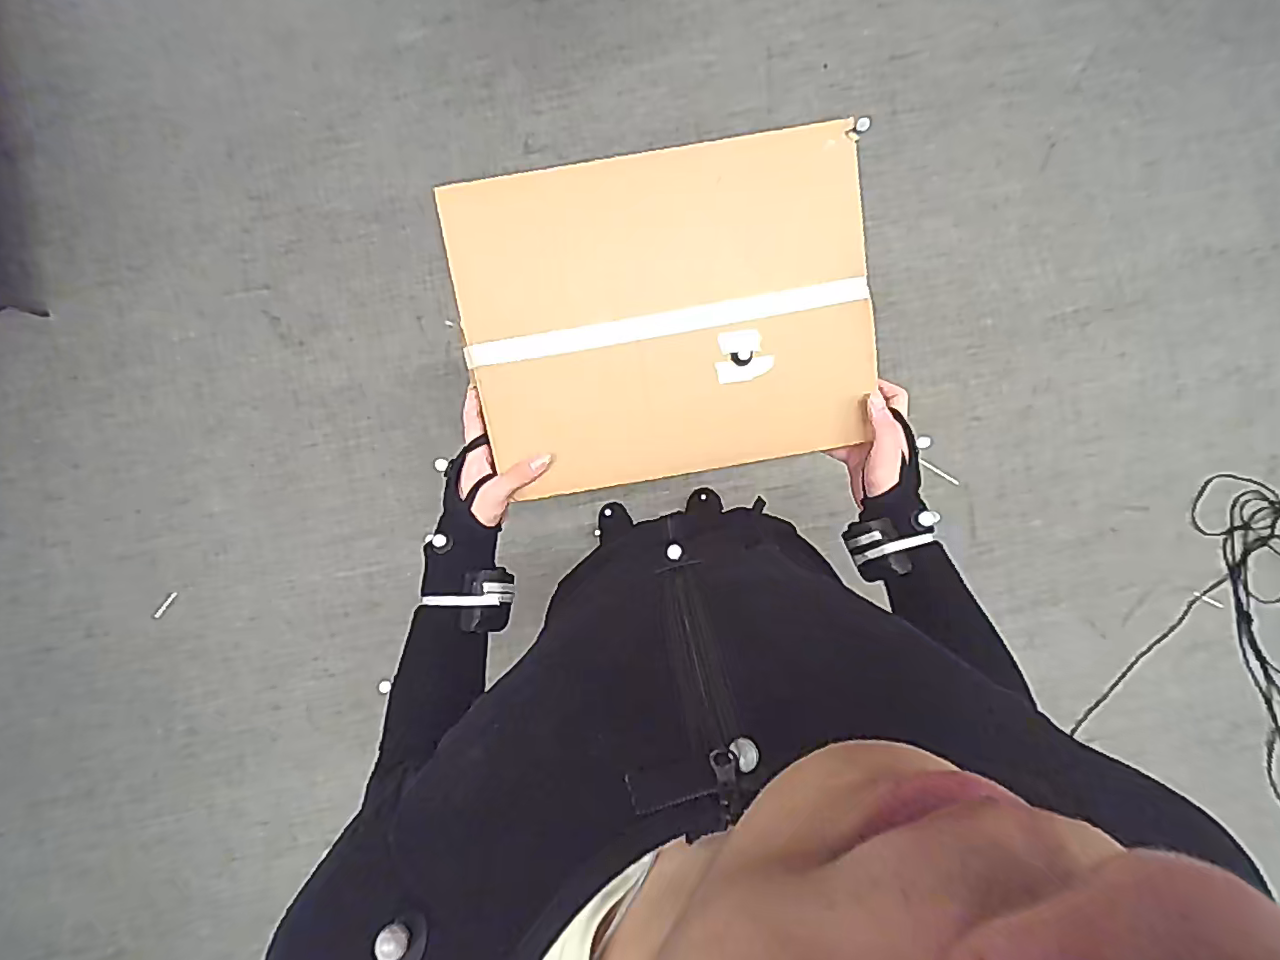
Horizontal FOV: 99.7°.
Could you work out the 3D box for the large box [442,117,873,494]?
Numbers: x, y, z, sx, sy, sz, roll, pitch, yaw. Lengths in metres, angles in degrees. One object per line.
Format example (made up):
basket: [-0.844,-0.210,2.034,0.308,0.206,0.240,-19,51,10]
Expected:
large box: [0.021,-0.194,0.694,0.408,0.320,0.320,-10,102,-1]
